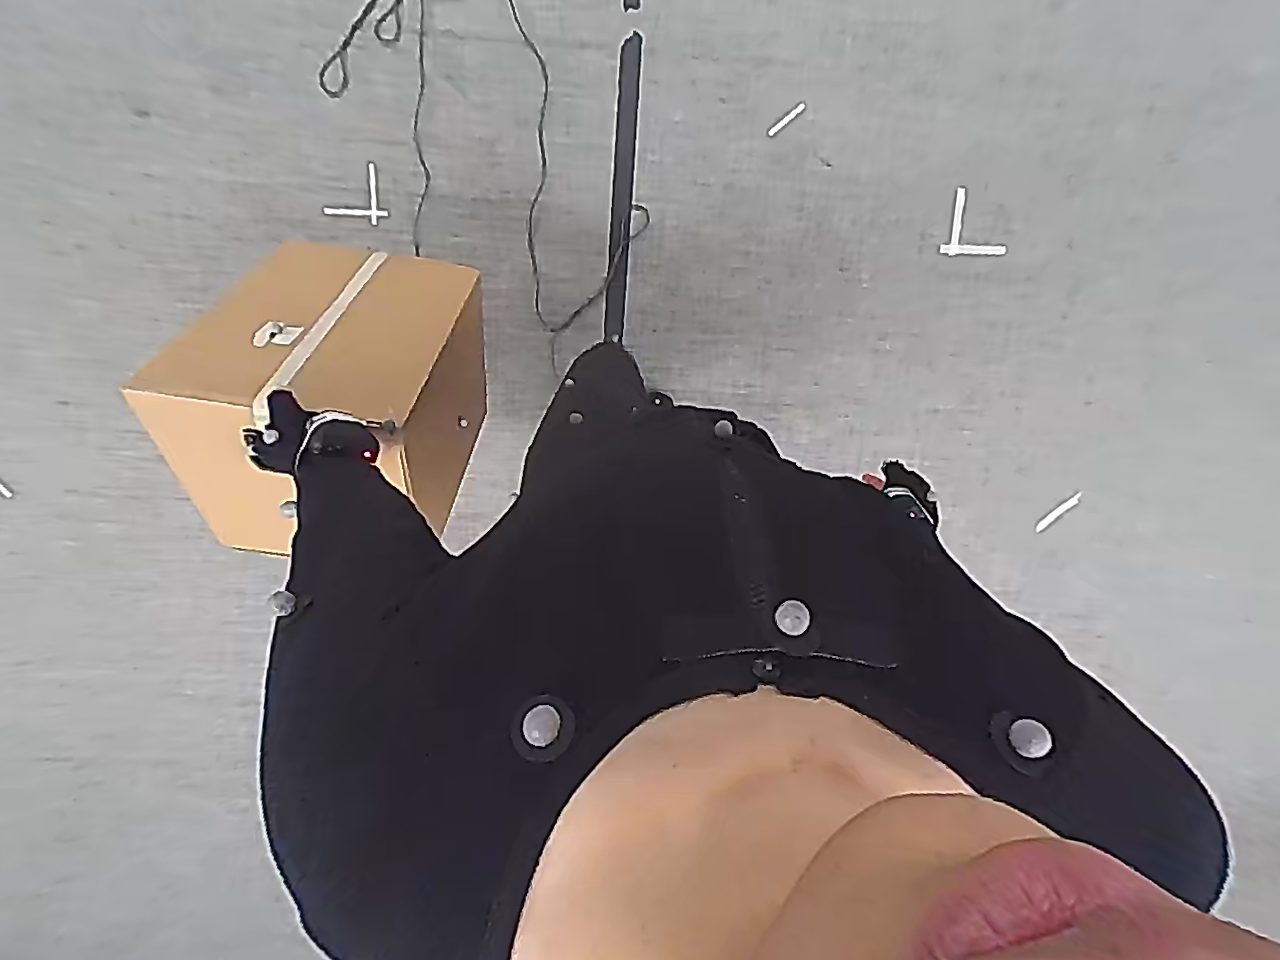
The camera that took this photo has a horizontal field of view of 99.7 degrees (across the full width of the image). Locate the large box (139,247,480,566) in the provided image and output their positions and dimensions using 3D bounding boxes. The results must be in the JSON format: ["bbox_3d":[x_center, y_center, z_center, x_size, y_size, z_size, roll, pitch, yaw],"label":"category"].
[{"bbox_3d":[-0.463,-0.123,0.890,0.320,0.408,0.320,8,137,-5],"label":"large box"}]
